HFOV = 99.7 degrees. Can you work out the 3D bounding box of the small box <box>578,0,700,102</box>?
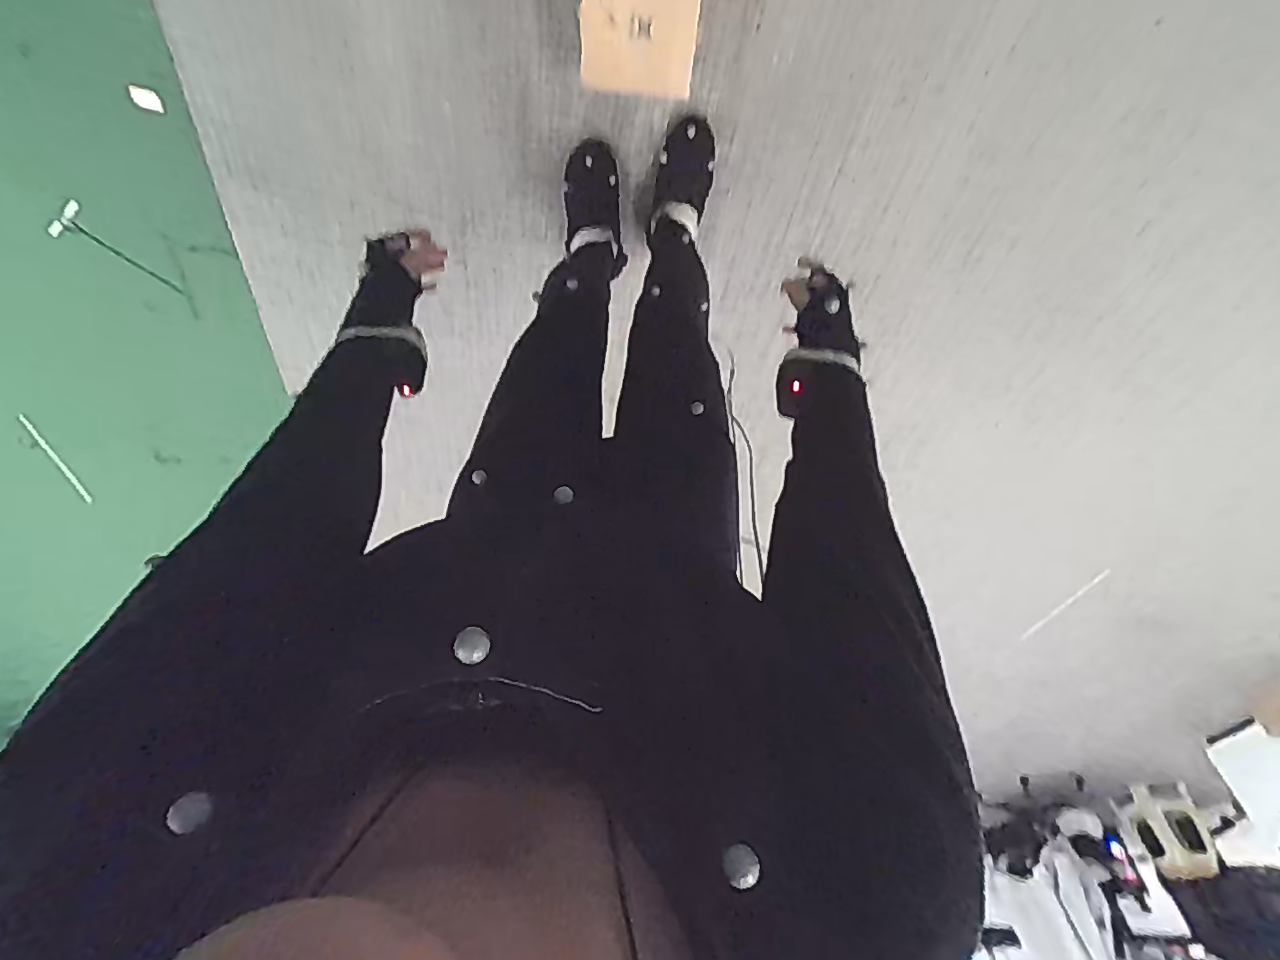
[{"bbox_3d":[-0.003,-0.730,0.864,0.179,0.176,0.168,5,134,-3],"label":"small box"}]
